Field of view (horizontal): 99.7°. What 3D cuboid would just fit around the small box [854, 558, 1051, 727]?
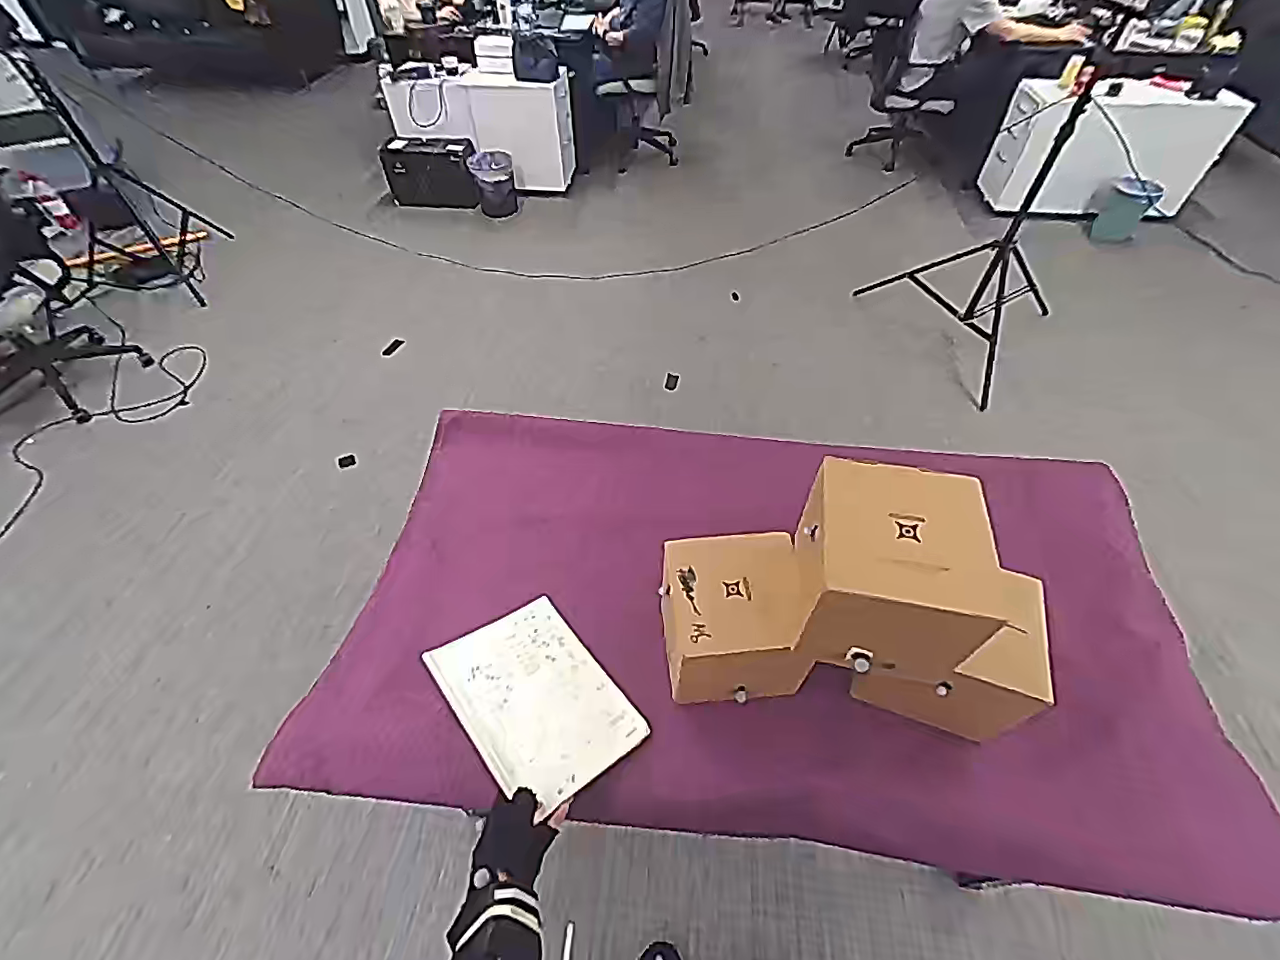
[{"bbox_3d":[0.402,0.203,0.722,0.179,0.176,0.168,16,52,15],"label":"small box"}]

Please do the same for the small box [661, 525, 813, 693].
[{"bbox_3d":[0.126,0.180,0.747,0.179,0.176,0.168,-4,49,-3],"label":"small box"}]

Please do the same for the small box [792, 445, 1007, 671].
[{"bbox_3d":[0.270,0.089,0.609,0.168,0.176,0.179,8,51,10],"label":"small box"}]
